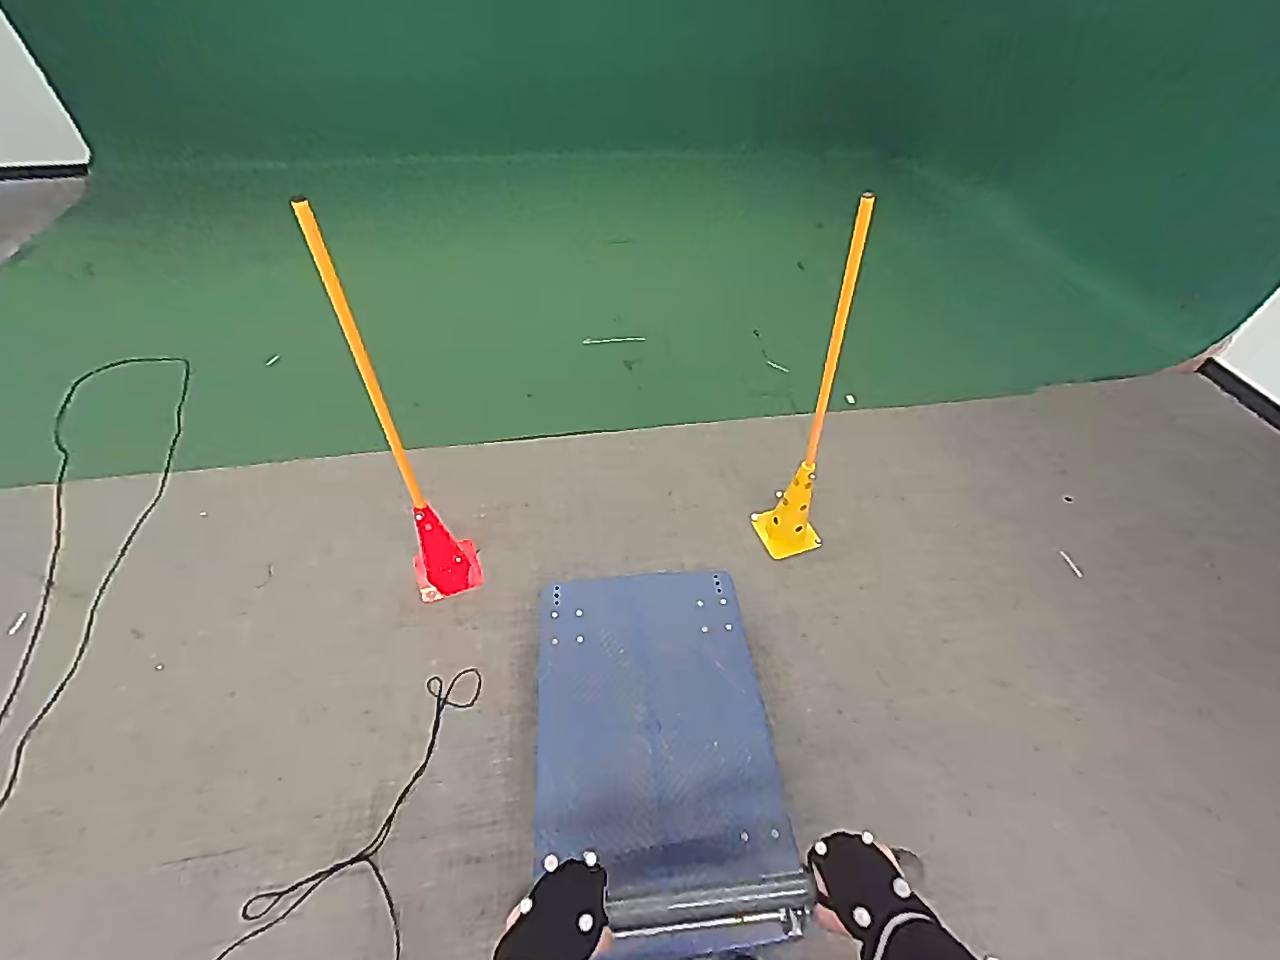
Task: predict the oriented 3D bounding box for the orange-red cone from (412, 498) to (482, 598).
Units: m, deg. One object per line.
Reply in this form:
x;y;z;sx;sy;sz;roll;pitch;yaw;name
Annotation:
-0.640;0.182;1.685;0.199;0.360;0.198;-18;52;-15;orange-red cone
